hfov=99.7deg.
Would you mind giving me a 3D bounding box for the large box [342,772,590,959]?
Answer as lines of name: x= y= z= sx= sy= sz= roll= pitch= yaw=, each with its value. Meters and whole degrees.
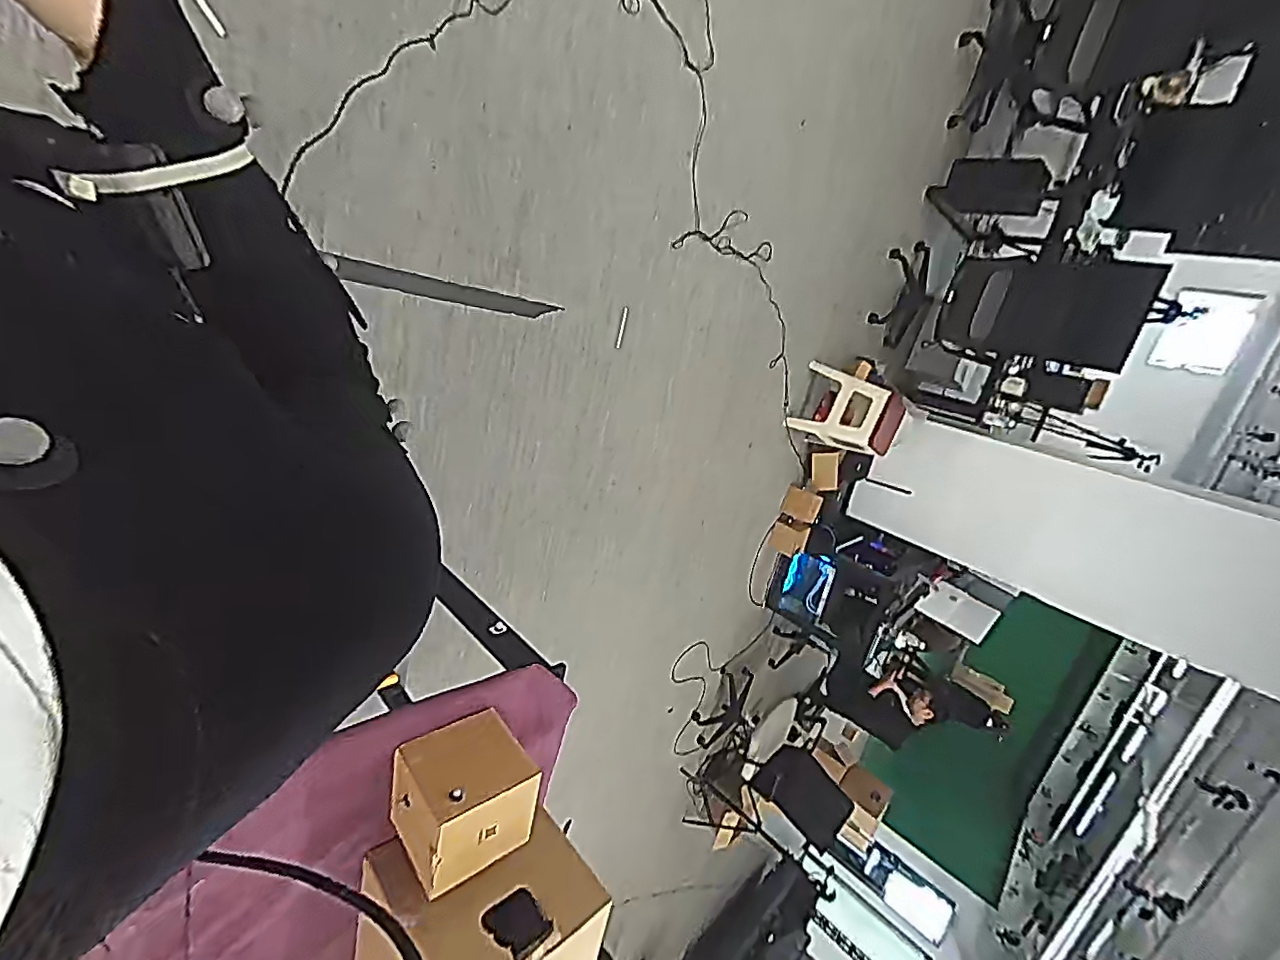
large box: x=-0.330 y=0.850 z=0.987 sx=0.320 sy=0.320 sz=0.408 roll=-6 pitch=114 yaw=-46
